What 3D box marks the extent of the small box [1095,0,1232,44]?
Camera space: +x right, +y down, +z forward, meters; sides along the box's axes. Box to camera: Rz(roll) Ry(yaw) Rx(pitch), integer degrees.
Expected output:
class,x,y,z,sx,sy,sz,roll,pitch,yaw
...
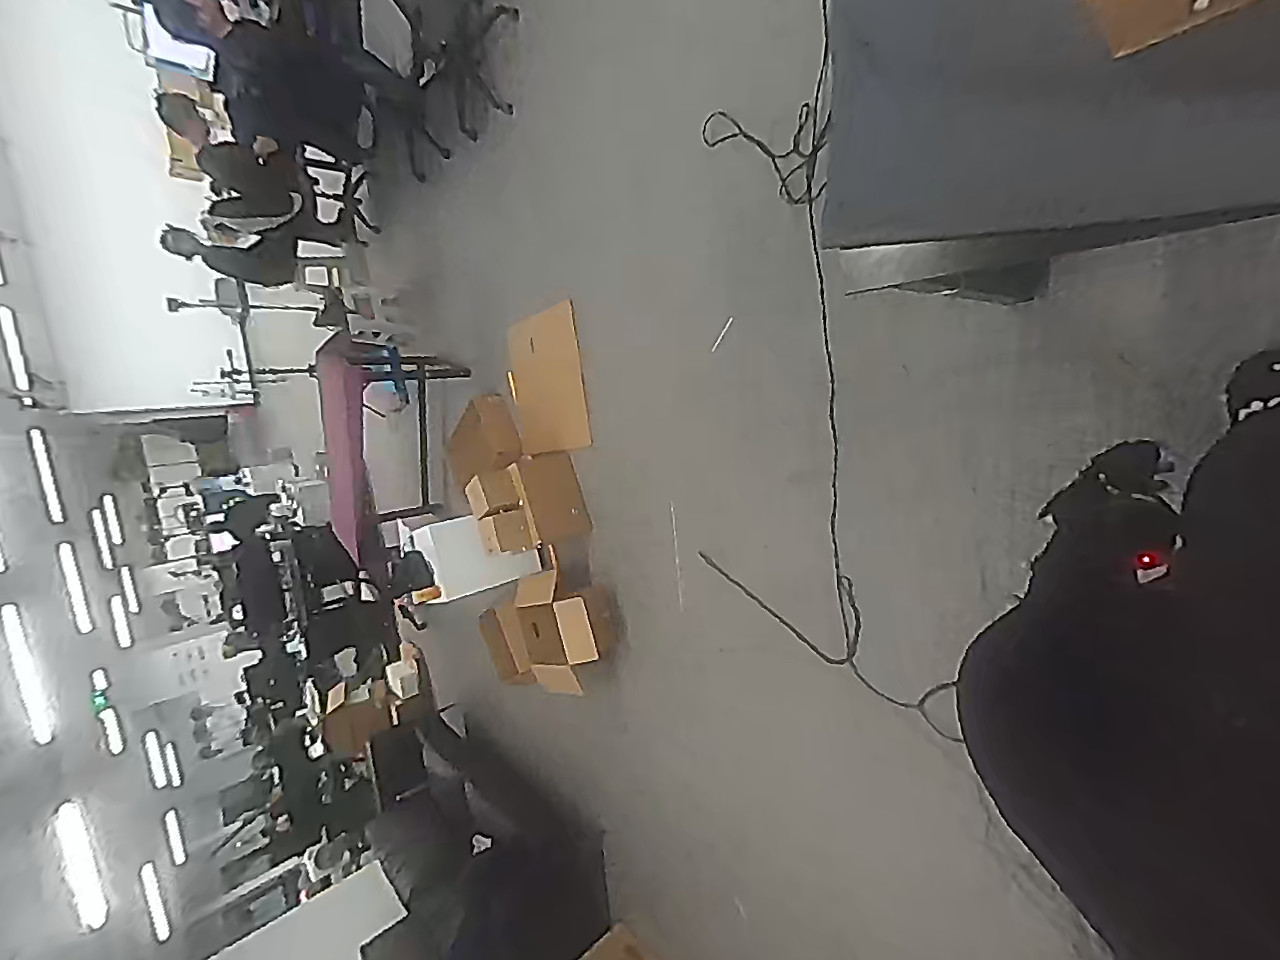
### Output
class,x,y,z,sx,sy,sz,roll,pitch,yaw
small box,0.483,-0.522,0.447,0.168,0.176,0.179,2,101,48
